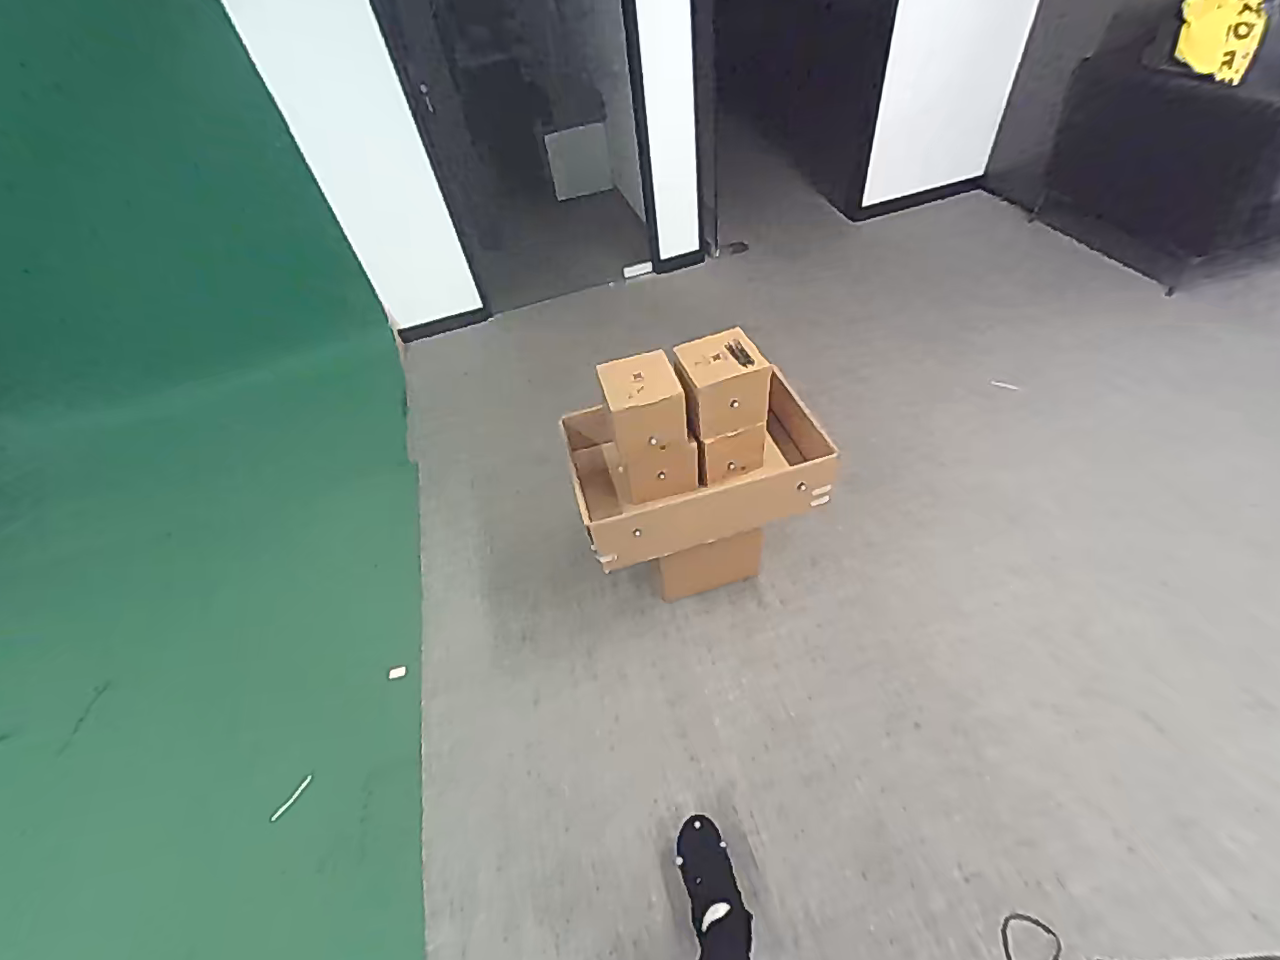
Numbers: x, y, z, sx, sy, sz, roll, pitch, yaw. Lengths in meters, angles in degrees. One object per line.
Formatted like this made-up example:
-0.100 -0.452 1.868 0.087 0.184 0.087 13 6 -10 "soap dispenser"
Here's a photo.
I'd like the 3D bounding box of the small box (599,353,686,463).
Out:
0.007 -0.168 1.272 0.168 0.176 0.179 -15 48 -5 "small box"
